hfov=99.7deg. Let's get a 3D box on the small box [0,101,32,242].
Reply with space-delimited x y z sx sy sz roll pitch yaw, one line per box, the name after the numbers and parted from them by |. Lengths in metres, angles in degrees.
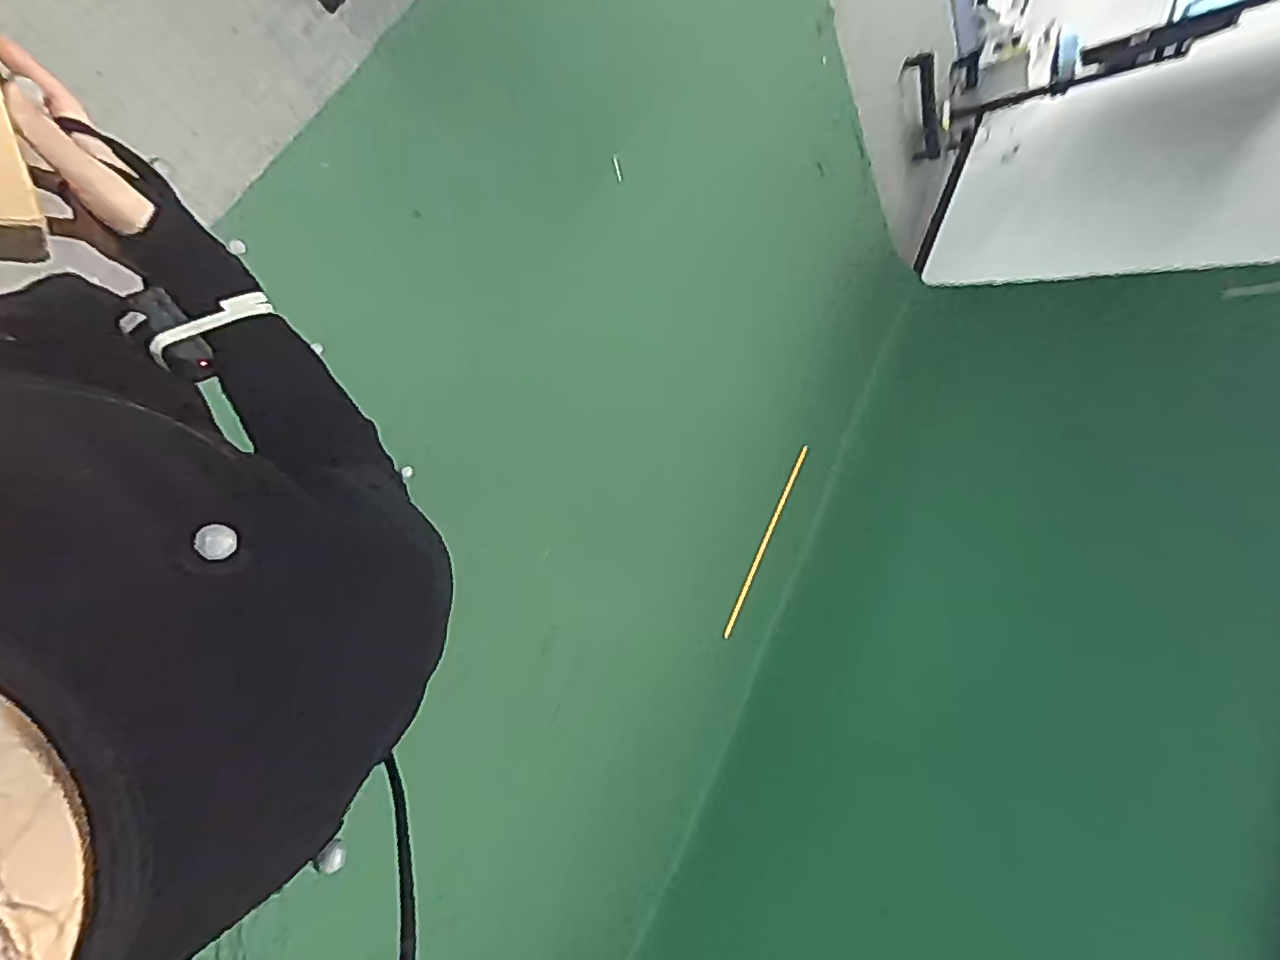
-0.448 -0.226 0.265 0.168 0.176 0.179 -18 113 -45 | small box
